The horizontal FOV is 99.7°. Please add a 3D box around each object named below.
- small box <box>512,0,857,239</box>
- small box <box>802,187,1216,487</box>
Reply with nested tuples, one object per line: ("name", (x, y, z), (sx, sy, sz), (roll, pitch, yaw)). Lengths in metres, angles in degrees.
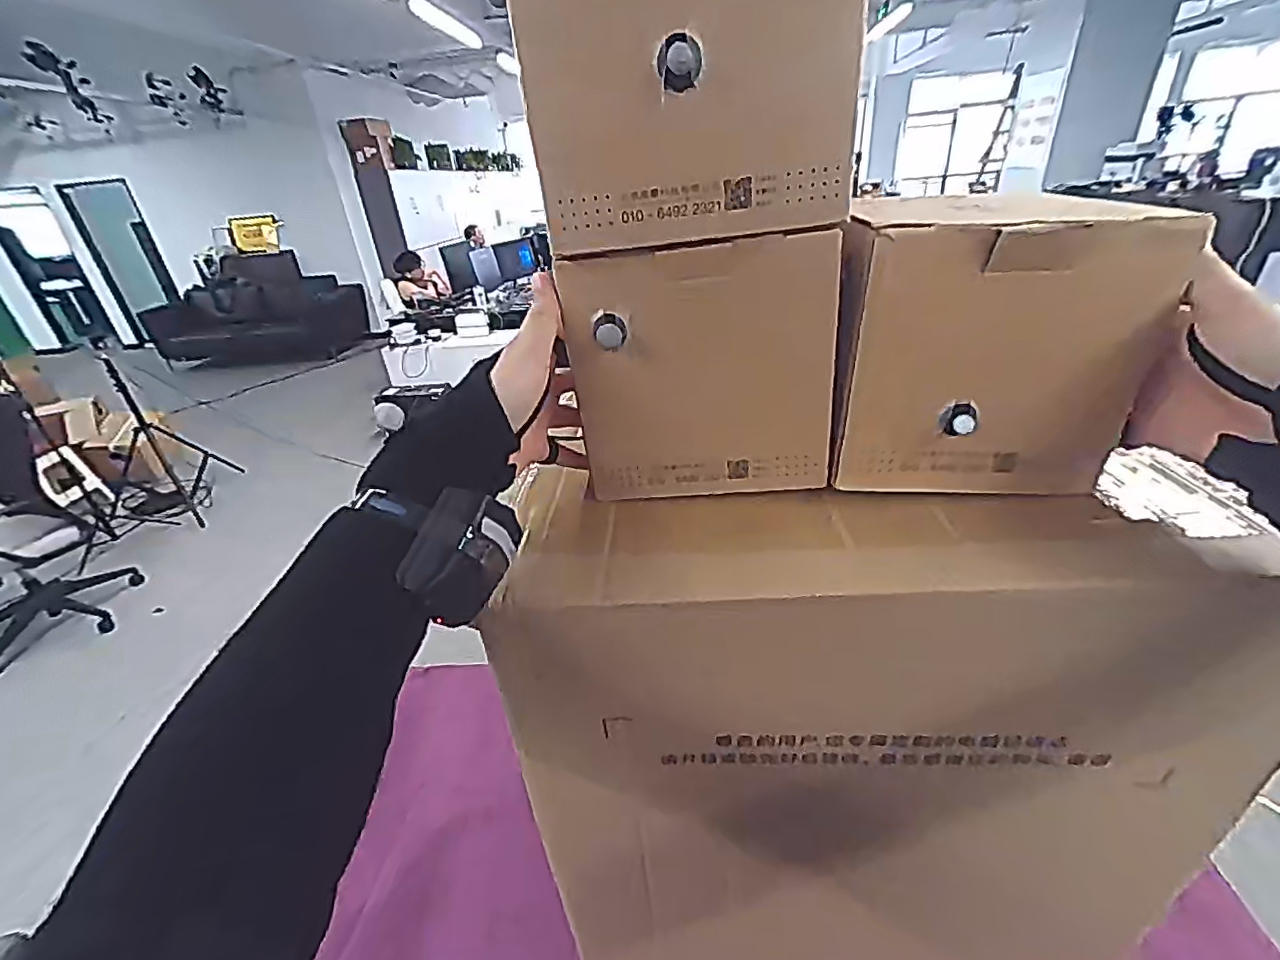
("small box", (0.025, -0.248, 0.328), (0.168, 0.176, 0.179), (-5, 29, 2))
("small box", (0.219, -0.111, 0.390), (0.168, 0.176, 0.179), (0, 31, 6))
